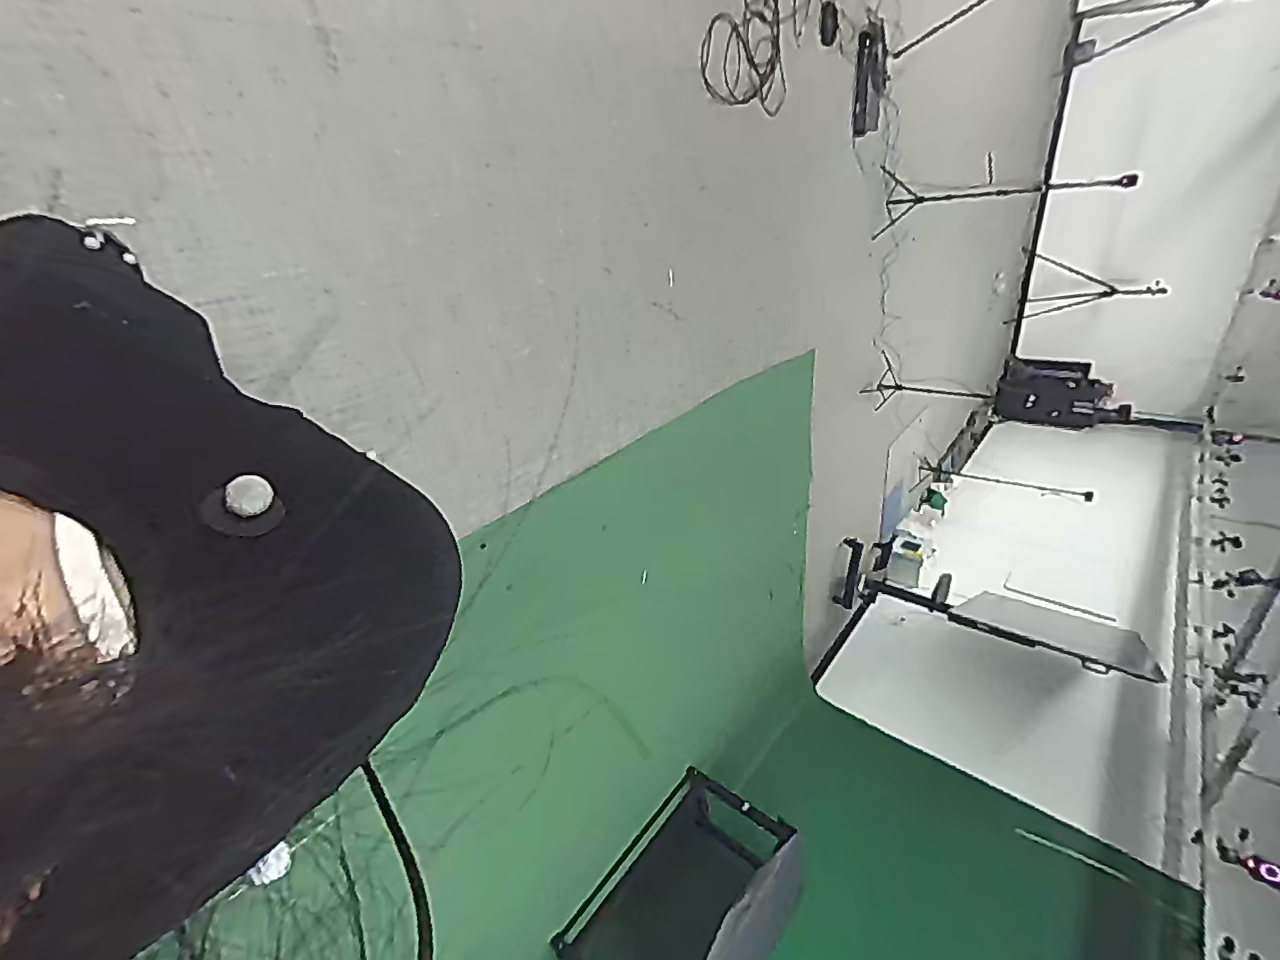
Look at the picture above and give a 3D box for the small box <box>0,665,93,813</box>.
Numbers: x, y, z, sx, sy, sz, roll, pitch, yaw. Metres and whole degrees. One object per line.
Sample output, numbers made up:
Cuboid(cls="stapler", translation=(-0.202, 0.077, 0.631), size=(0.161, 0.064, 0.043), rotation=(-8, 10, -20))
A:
Cuboid(cls="small box", translation=(-1.163, 0.478, 0.991), size=(0.179, 0.176, 0.168), rotation=(-31, 125, -40))
